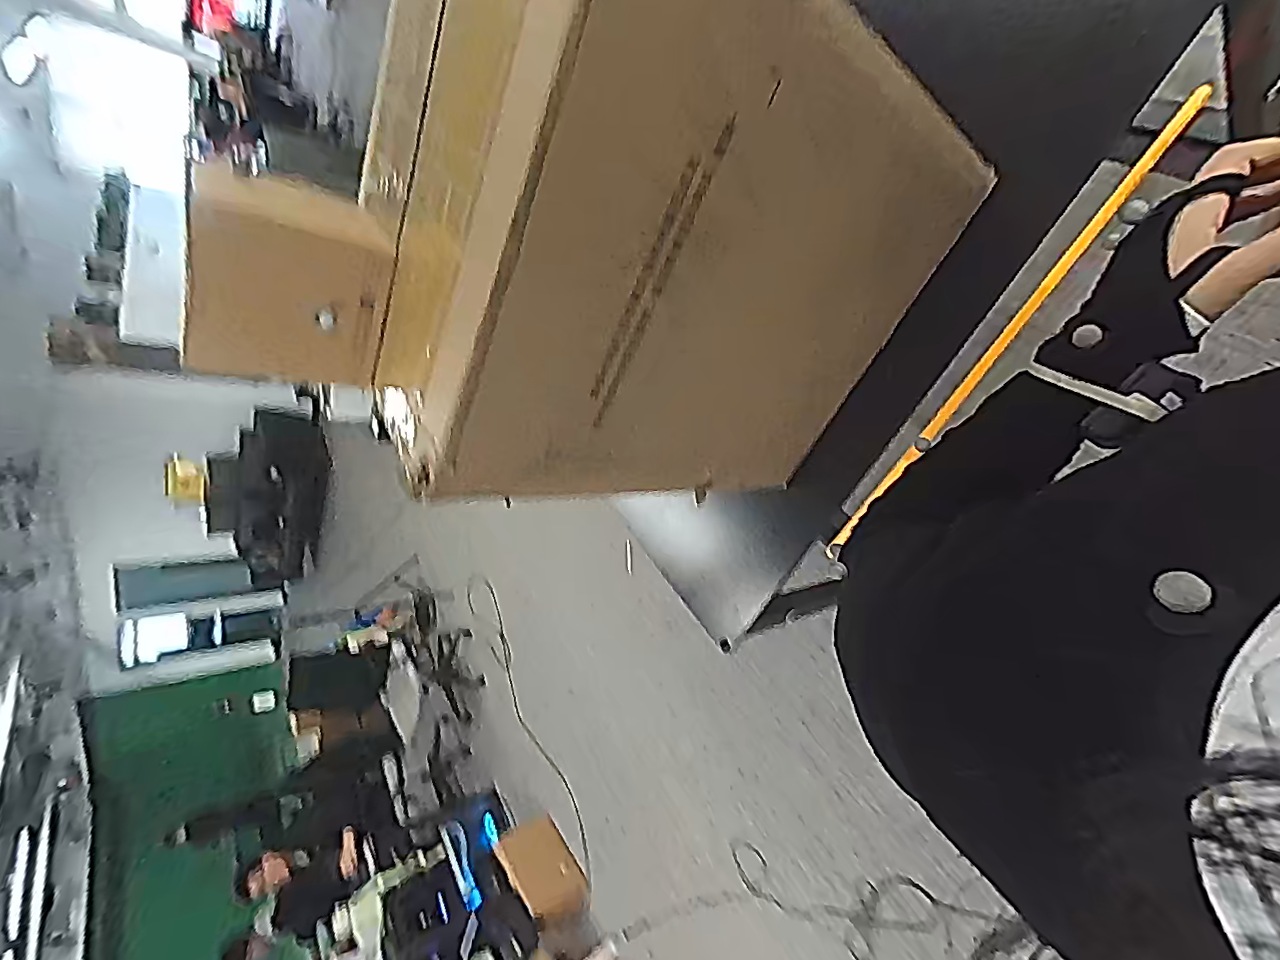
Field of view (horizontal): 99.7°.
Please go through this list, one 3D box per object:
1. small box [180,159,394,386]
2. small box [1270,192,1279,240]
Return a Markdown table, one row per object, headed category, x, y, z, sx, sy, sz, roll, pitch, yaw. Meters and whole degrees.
| category | x | y | z | sx | sy | sz | roll | pitch | yaw |
| --- | --- | --- | --- | --- | --- | --- | --- | --- | --- |
| small box | -0.388 | -0.217 | 0.591 | 0.179 | 0.176 | 0.168 | 48 | 124 | 39 |
| small box | 0.489 | -0.218 | 0.280 | 0.168 | 0.176 | 0.179 | 22 | 118 | 37 |
